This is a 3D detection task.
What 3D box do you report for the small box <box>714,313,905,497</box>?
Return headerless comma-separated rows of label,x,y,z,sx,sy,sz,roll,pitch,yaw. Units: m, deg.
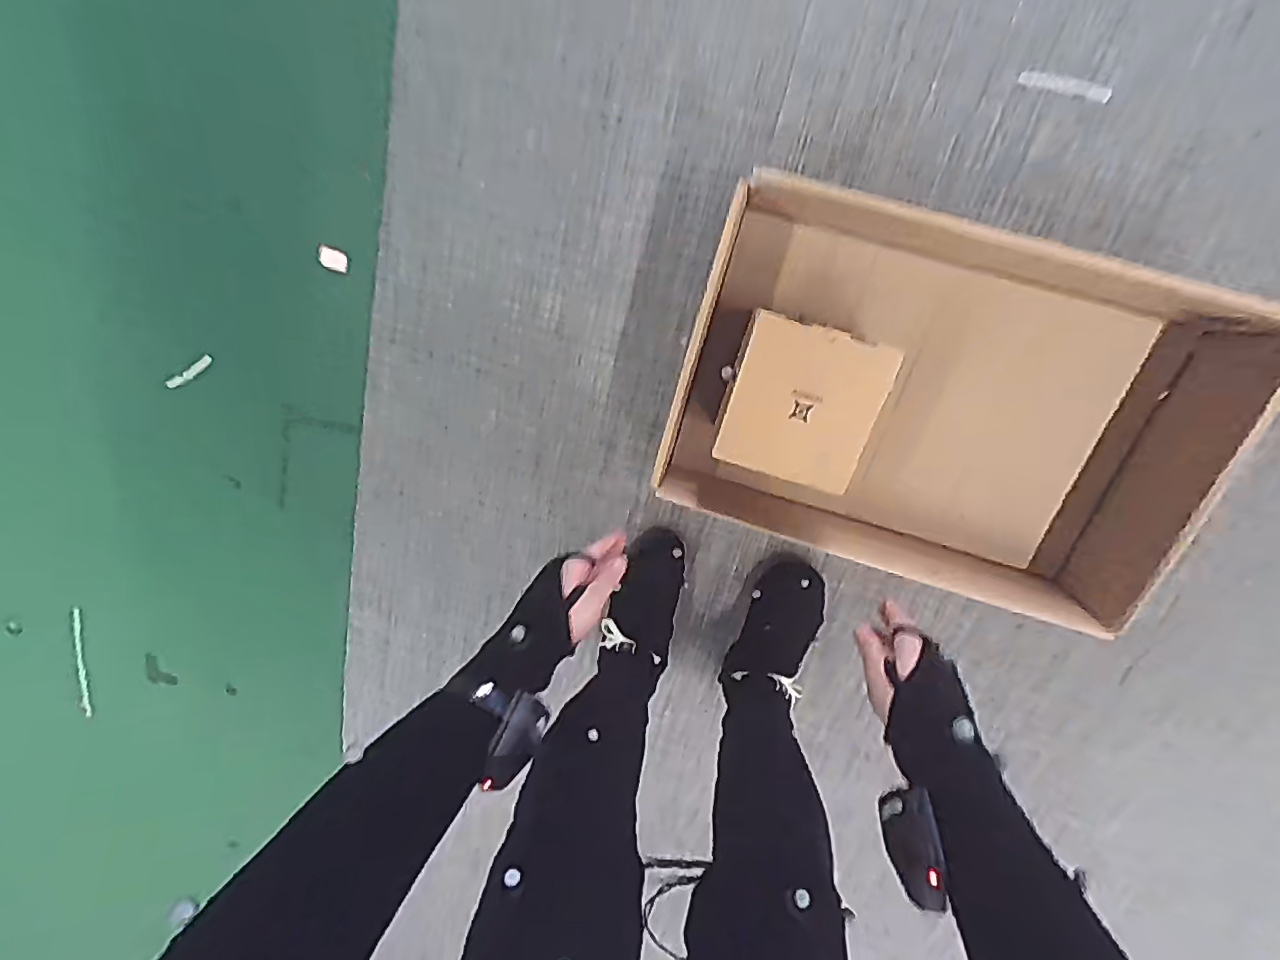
small box,0.203,-0.104,0.691,0.168,0.176,0.179,17,108,4
